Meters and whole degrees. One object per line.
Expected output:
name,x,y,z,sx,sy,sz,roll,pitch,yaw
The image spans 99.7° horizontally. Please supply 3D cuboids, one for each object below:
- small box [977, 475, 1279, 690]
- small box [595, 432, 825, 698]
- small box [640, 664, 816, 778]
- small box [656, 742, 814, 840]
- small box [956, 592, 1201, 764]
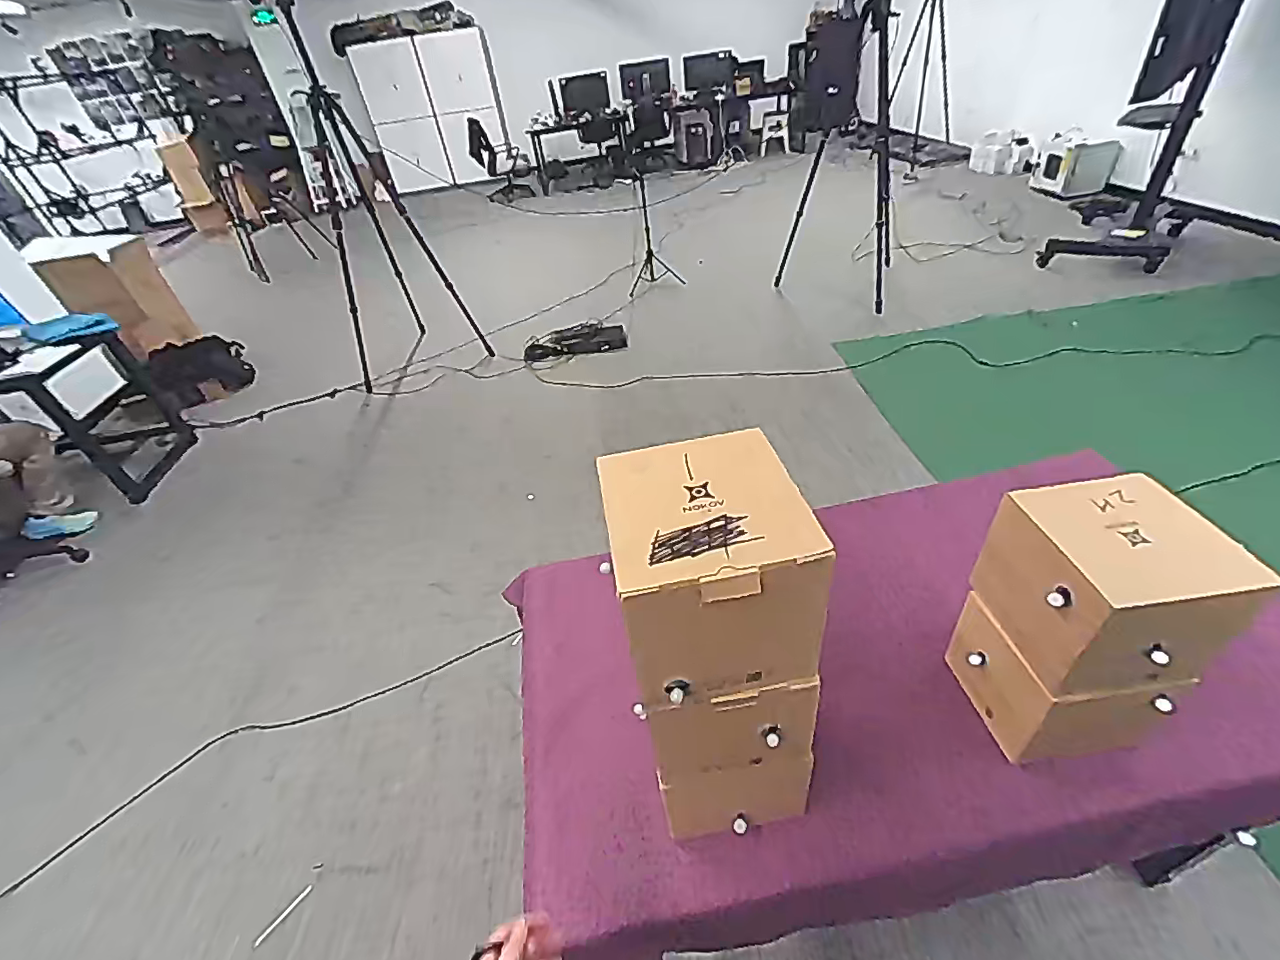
small box,0.528,0.122,0.620,0.168,0.176,0.179,-8,38,2
small box,0.058,0.082,0.509,0.168,0.176,0.179,-11,38,-2
small box,0.087,0.211,0.608,0.168,0.176,0.179,-9,38,1
small box,0.108,0.340,0.706,0.179,0.176,0.168,-10,38,-1
small box,0.552,0.252,0.718,0.179,0.176,0.168,-9,39,0
